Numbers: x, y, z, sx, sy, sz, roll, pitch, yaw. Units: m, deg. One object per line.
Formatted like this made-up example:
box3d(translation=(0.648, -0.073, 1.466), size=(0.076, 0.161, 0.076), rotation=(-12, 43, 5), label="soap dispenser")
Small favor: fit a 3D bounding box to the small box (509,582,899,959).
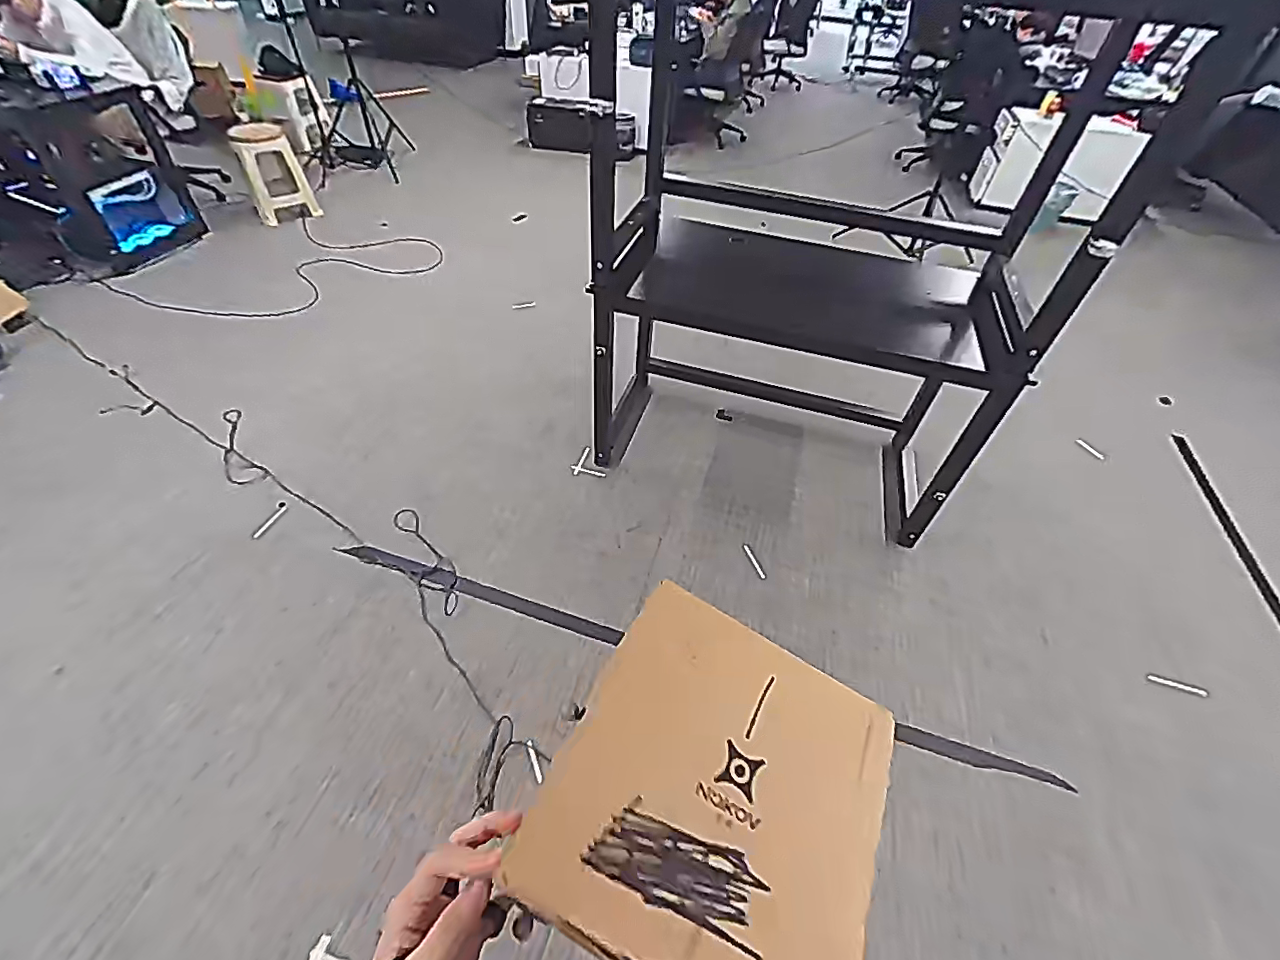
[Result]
box3d(translation=(0.031, 0.205, 0.343), size=(0.168, 0.176, 0.179), rotation=(29, 50, 3), label="small box")
